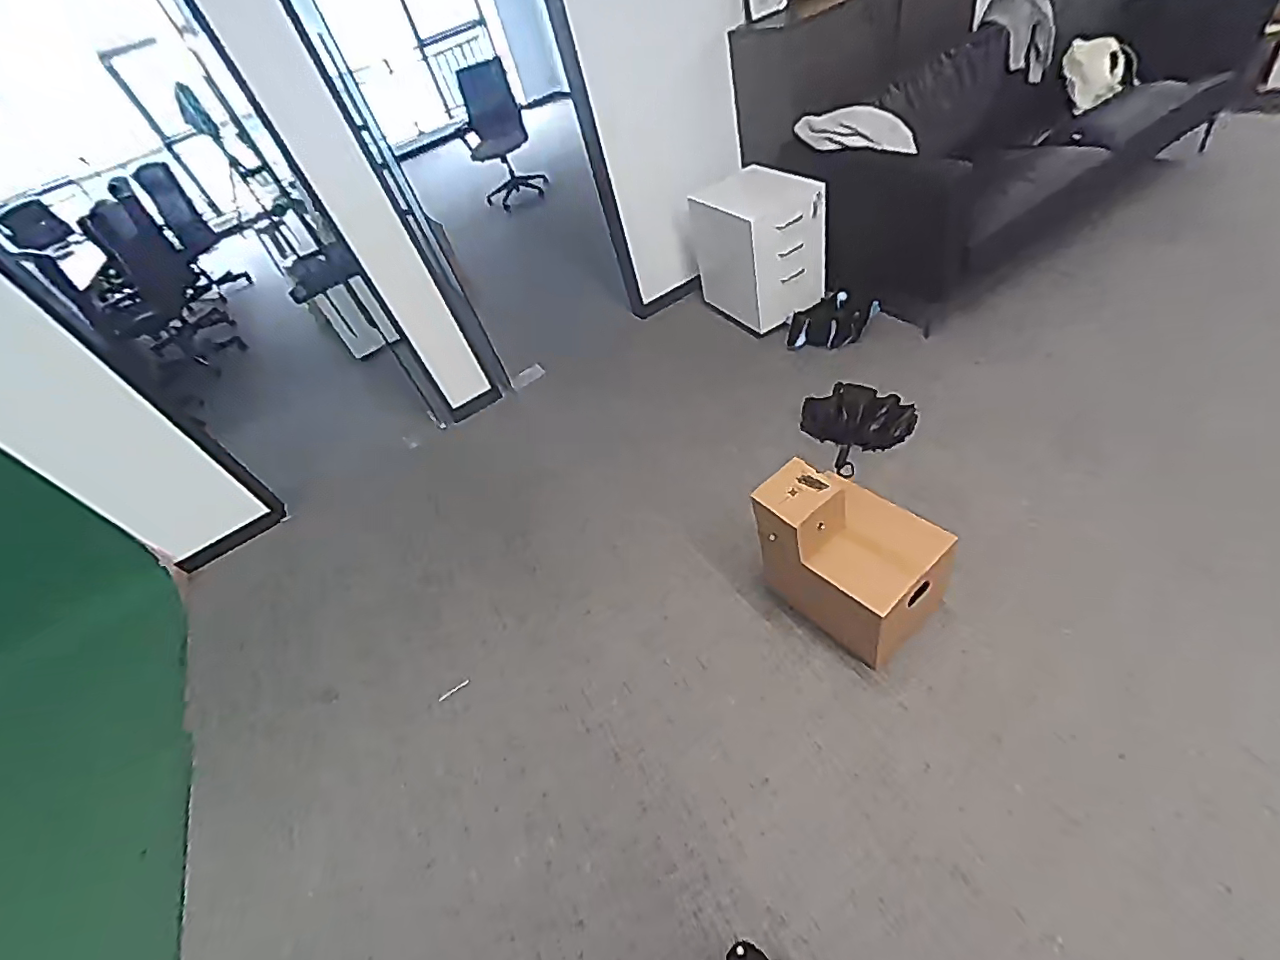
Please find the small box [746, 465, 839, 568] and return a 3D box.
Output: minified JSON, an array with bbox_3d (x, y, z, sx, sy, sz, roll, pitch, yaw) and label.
[{"bbox_3d":[0.411,0.099,1.450,0.179,0.176,0.168,-38,46,-14],"label":"small box"}]
